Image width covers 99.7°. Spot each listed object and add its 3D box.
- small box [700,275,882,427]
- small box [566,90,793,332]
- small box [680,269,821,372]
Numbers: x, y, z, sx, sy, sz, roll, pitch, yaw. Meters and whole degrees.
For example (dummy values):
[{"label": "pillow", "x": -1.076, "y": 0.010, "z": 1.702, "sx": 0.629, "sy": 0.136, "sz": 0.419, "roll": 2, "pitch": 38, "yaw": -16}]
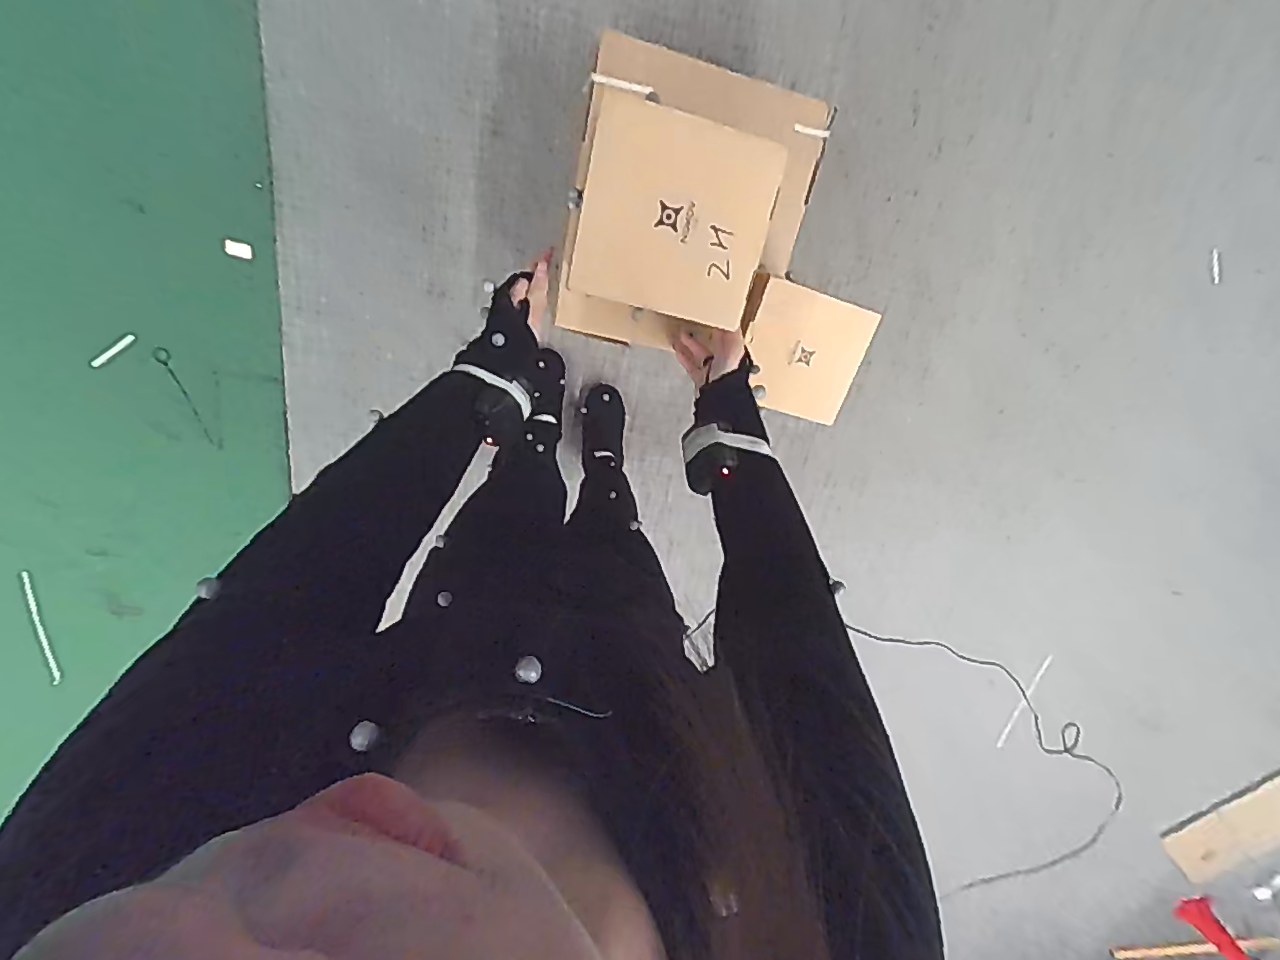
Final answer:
[{"label": "small box", "x": 0.210, "y": -0.199, "z": 0.805, "sx": 0.179, "sy": 0.176, "sz": 0.168, "roll": 13, "pitch": 111, "yaw": -14}, {"label": "small box", "x": 0.025, "y": -0.266, "z": 0.566, "sx": 0.179, "sy": 0.176, "sz": 0.168, "roll": 11, "pitch": 111, "yaw": -12}, {"label": "small box", "x": 0.180, "y": -0.273, "z": 0.947, "sx": 0.168, "sy": 0.176, "sz": 0.179, "roll": 12, "pitch": 110, "yaw": -14}]
